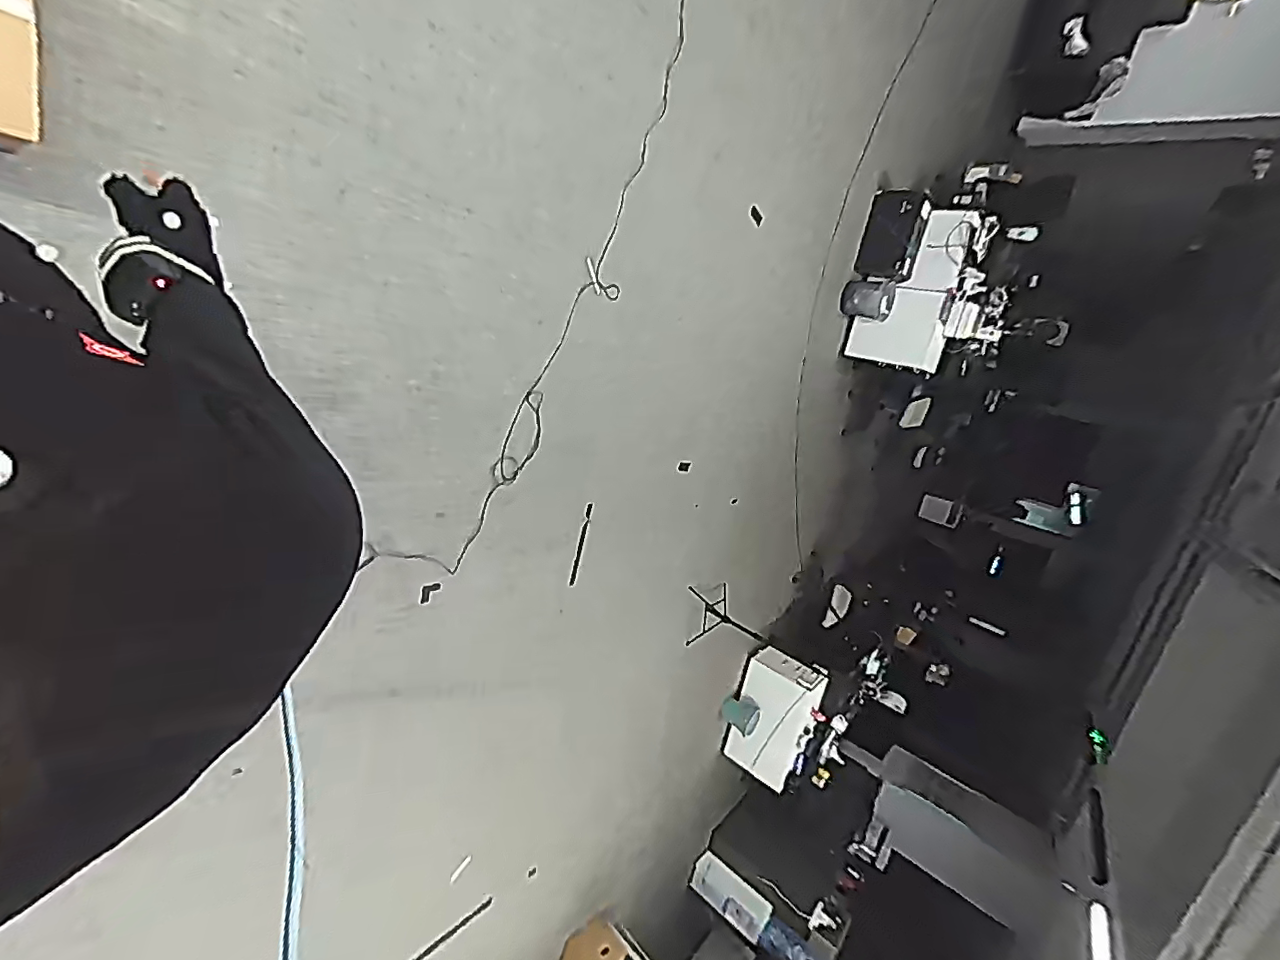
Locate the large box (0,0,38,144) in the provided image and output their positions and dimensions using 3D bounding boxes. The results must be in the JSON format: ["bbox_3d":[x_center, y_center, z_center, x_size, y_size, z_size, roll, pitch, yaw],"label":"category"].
[{"bbox_3d":[-1.045,-0.652,0.642,0.408,0.320,0.320,-6,113,-53],"label":"large box"}]
